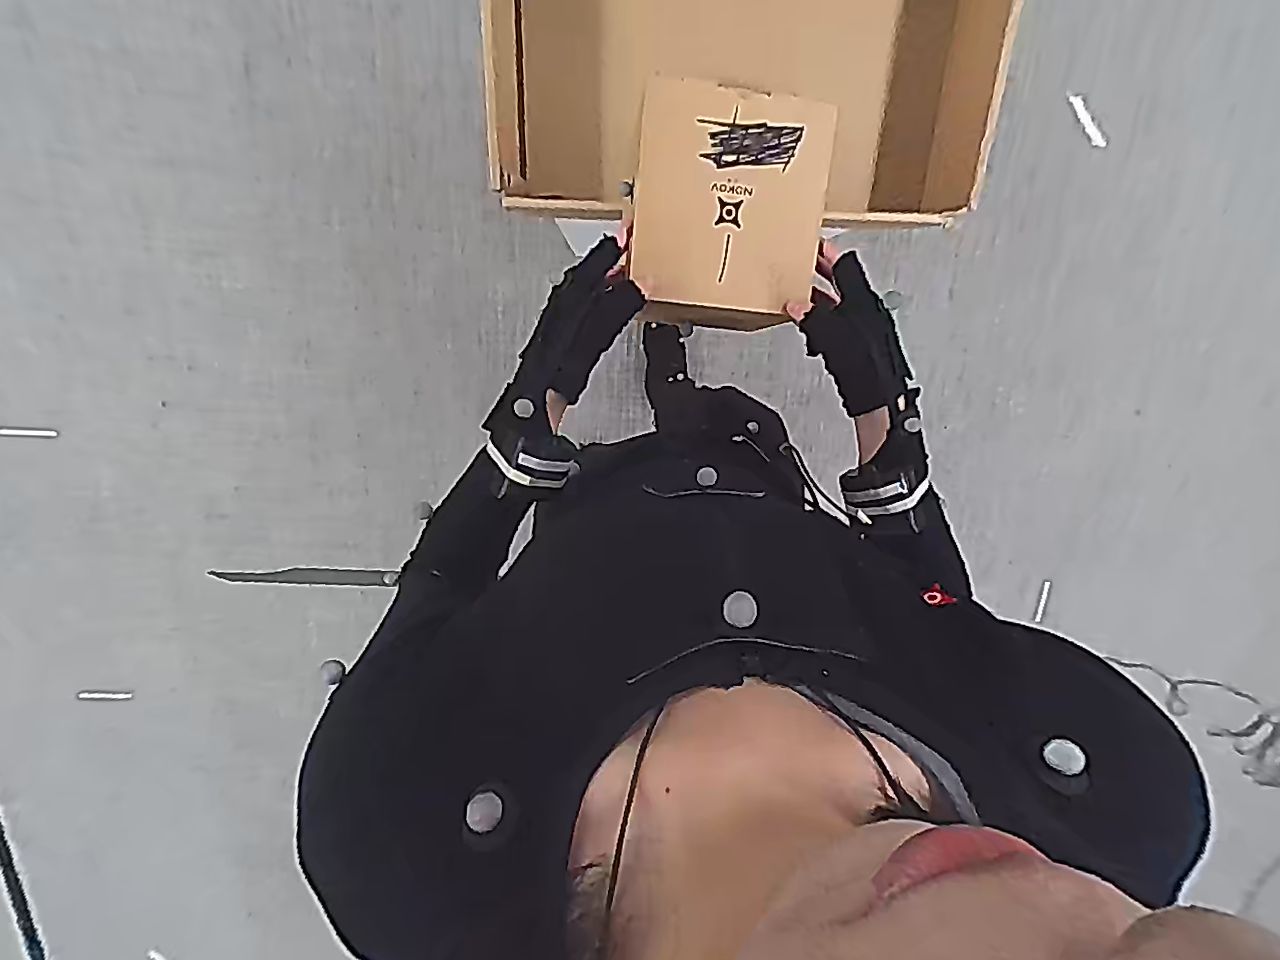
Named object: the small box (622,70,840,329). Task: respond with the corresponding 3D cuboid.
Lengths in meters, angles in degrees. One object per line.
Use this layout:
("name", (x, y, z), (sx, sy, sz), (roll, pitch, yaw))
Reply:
("small box", (0.073, -0.255, 0.538), (0.168, 0.176, 0.179), (4, 100, -7))
